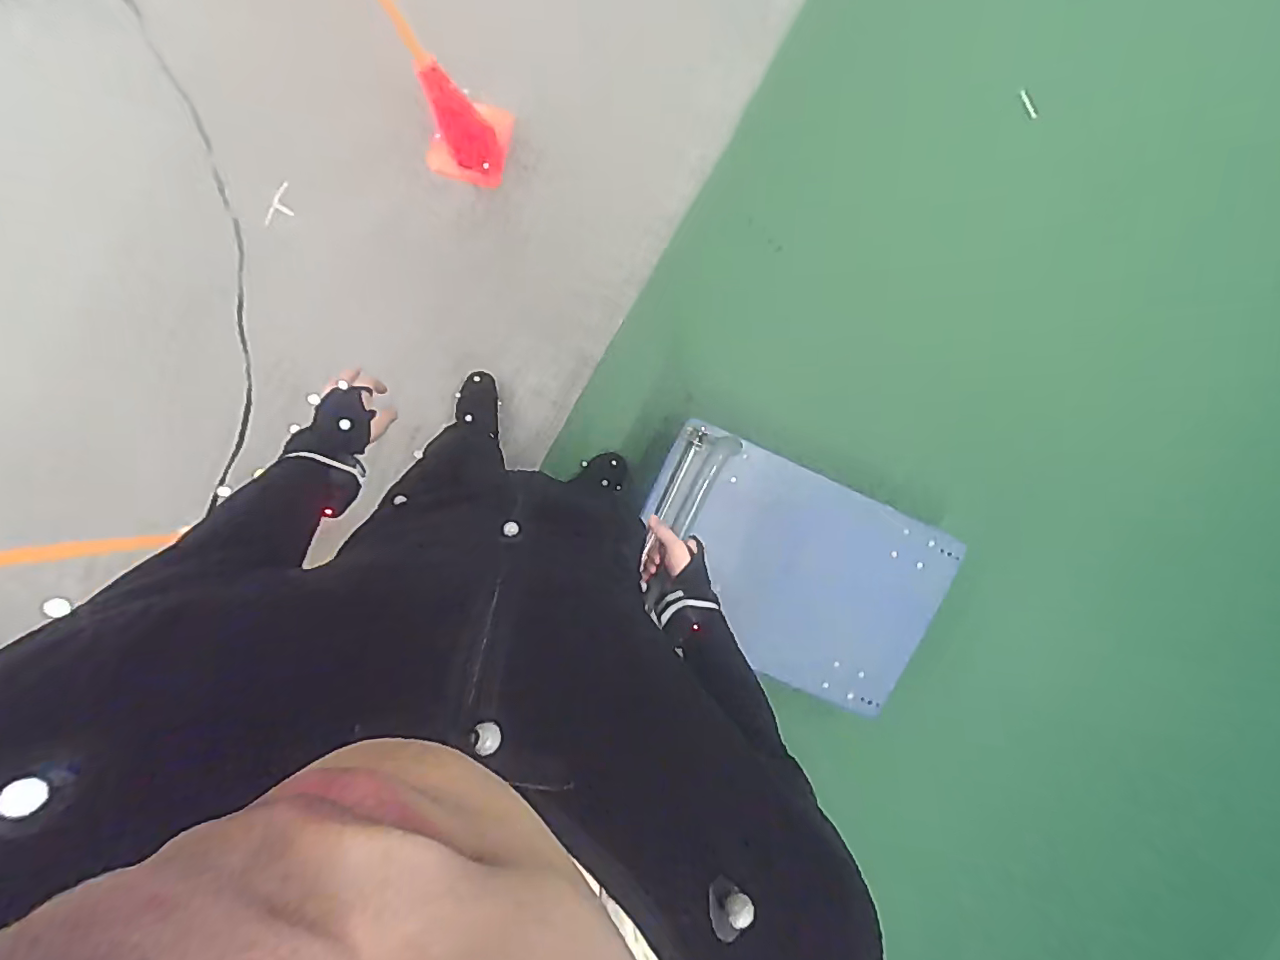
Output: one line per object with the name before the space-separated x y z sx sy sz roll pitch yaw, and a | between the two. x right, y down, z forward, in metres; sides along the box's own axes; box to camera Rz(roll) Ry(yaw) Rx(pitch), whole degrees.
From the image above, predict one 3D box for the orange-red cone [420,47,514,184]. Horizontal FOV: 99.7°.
orange-red cone | -0.453 -0.914 1.309 0.198 0.360 0.199 16 96 -4
